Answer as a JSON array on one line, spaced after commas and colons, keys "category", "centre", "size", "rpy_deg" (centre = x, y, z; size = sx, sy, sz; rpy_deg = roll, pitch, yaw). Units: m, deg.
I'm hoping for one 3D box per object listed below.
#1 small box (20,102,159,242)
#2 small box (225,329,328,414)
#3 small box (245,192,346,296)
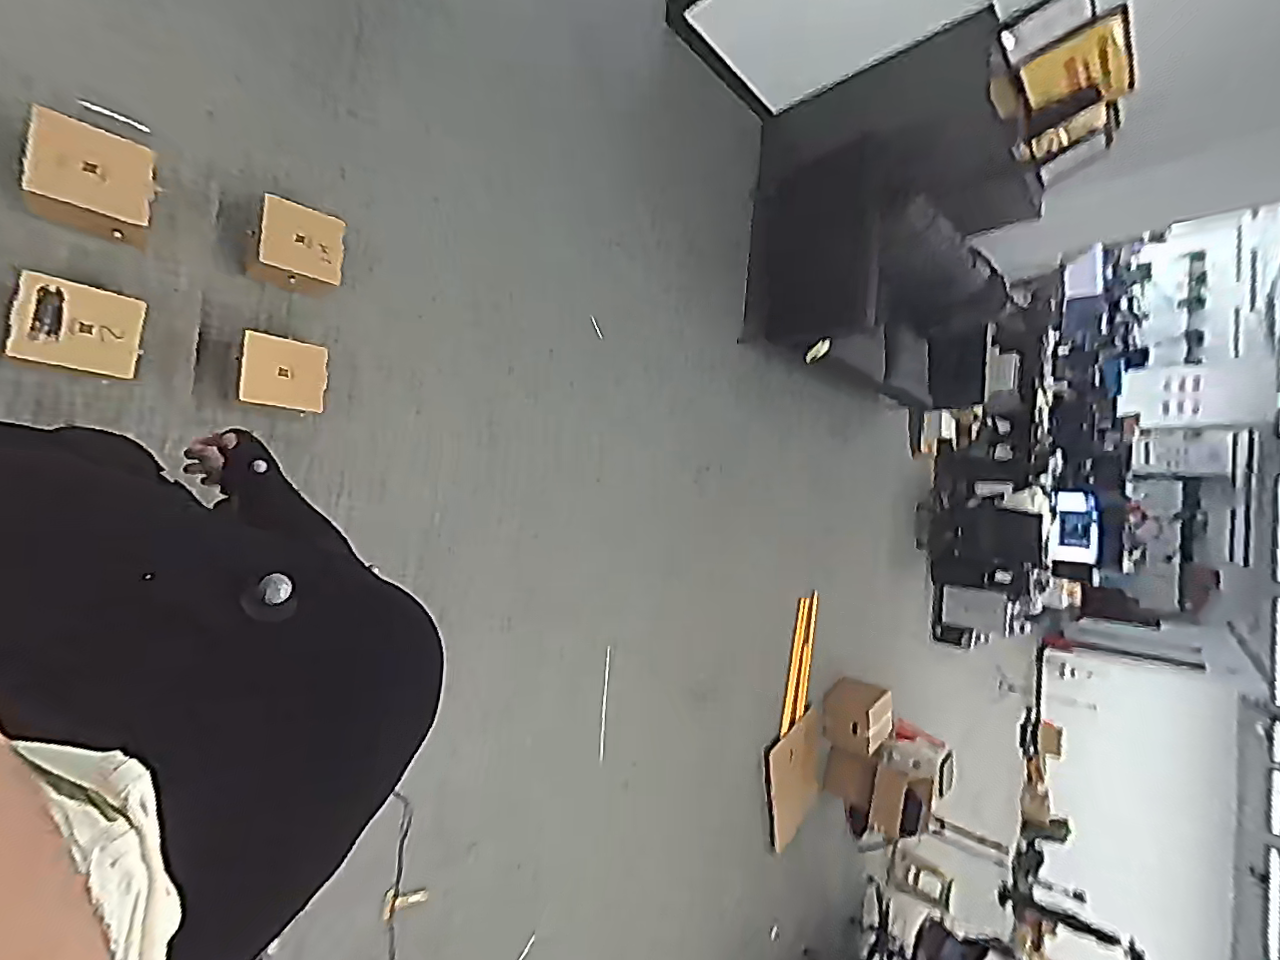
[{"category": "small box", "centre": [-1.119, -0.611, 1.105], "size": [0.179, 0.176, 0.168], "rpy_deg": [8, 85, -45]}, {"category": "small box", "centre": [-0.905, -0.259, 1.341], "size": [0.179, 0.176, 0.168], "rpy_deg": [7, 86, -47]}, {"category": "small box", "centre": [-0.870, -0.581, 1.360], "size": [0.179, 0.176, 0.168], "rpy_deg": [7, 87, -46]}]
